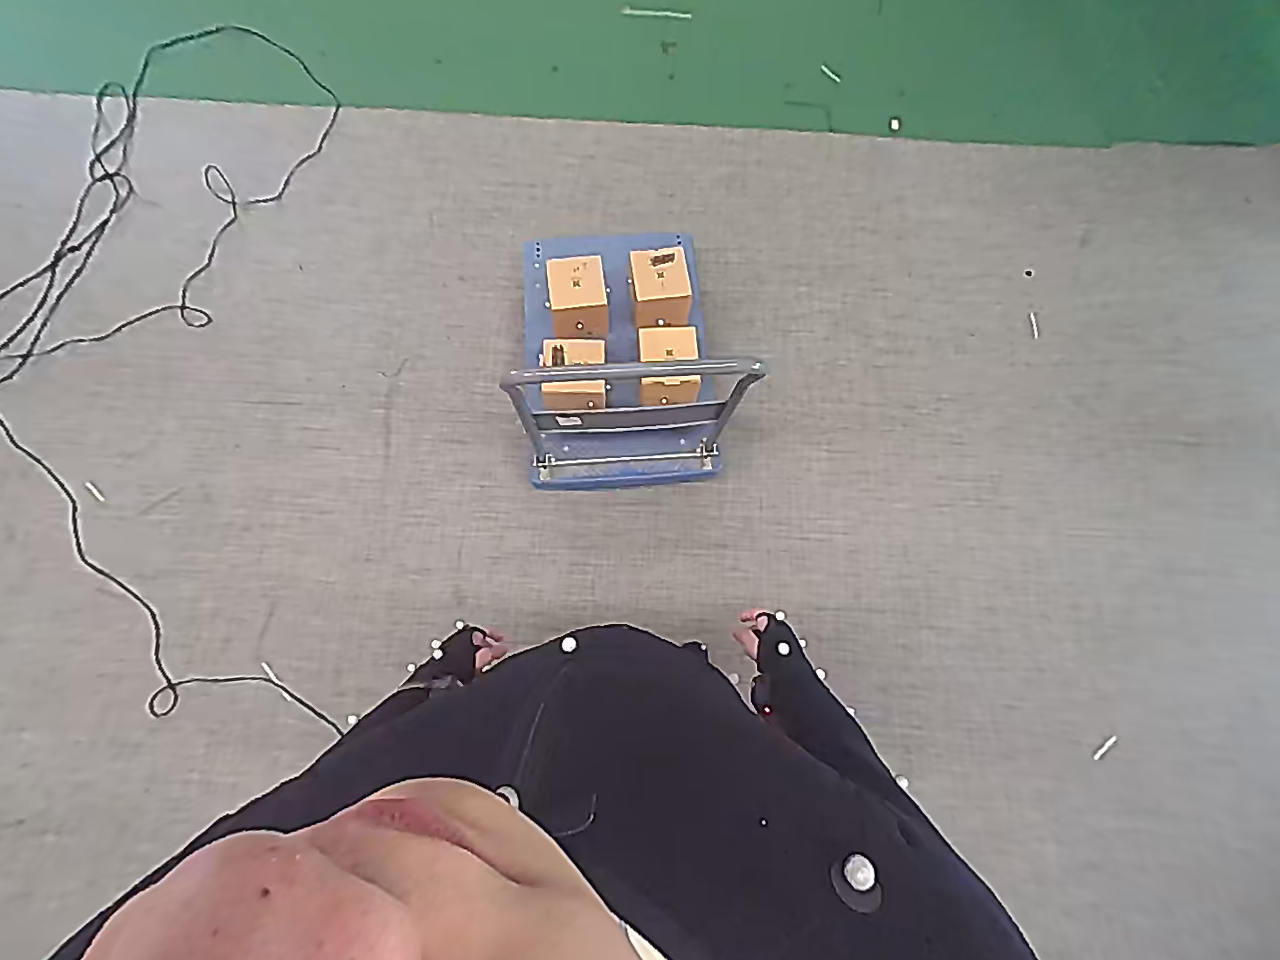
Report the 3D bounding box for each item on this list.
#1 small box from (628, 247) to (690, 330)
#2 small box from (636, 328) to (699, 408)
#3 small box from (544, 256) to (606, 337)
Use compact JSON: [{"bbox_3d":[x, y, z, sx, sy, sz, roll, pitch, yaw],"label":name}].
[{"bbox_3d":[0.052,-0.589,1.677,0.168,0.176,0.179,-8,75,-3],"label":"small box"},{"bbox_3d":[0.075,-0.330,1.602,0.168,0.176,0.179,-3,74,-3],"label":"small box"},{"bbox_3d":[-0.197,-0.555,1.658,0.168,0.176,0.179,-7,74,-5],"label":"small box"}]
